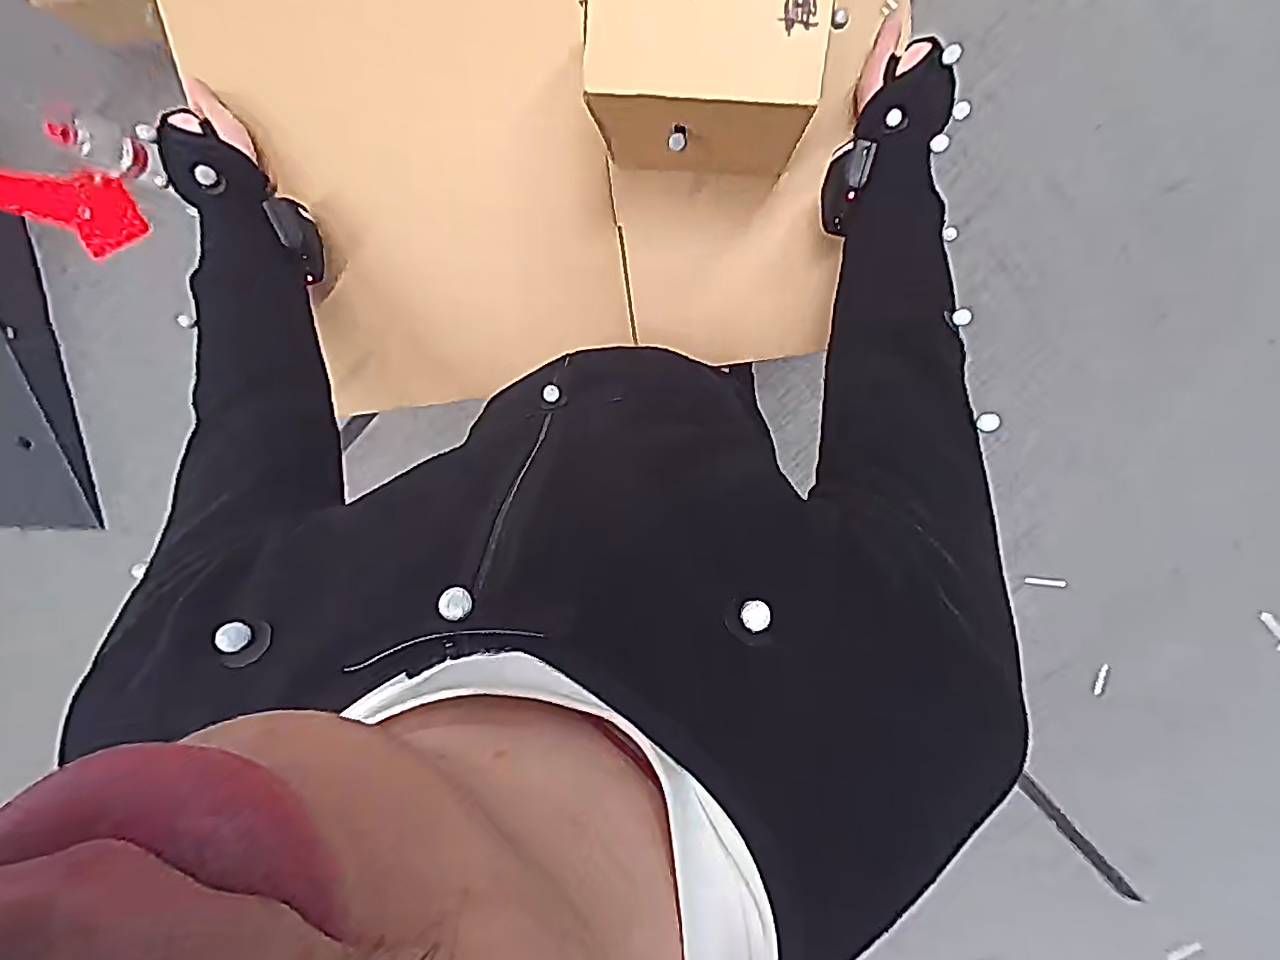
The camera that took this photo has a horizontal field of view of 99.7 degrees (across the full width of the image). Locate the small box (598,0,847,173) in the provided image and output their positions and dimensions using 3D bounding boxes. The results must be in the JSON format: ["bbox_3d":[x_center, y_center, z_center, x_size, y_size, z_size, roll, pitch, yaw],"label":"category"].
[{"bbox_3d":[0.070,-0.378,0.459,0.179,0.176,0.168,7,105,4],"label":"small box"}]
